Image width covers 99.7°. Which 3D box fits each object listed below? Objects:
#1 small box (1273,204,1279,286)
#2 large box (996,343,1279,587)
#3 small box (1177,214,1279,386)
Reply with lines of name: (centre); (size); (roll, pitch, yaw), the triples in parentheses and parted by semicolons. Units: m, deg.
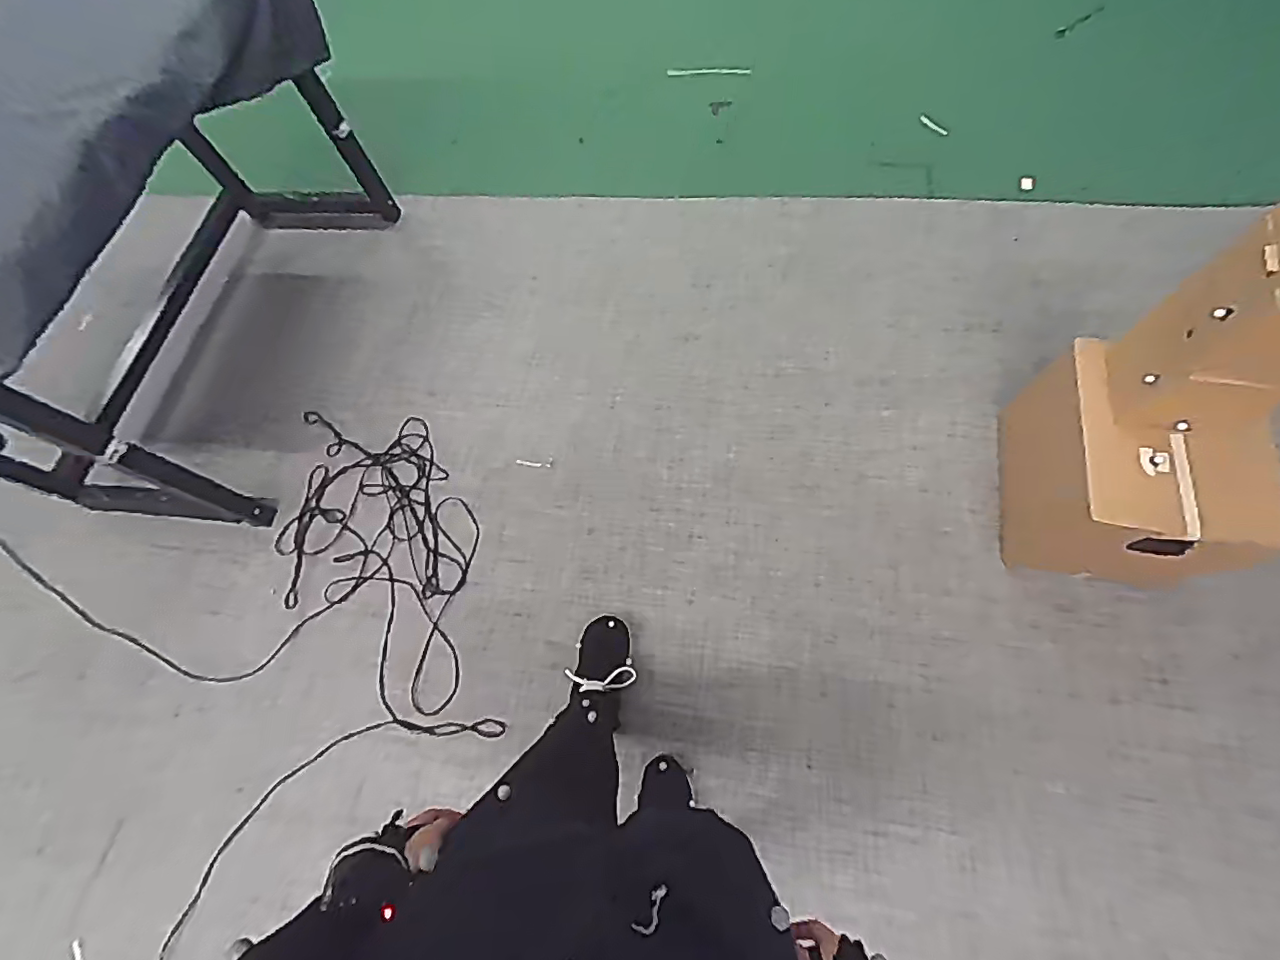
small box: (0.933, -0.318, 0.647); (0.168, 0.176, 0.179); (13, 72, 11)
large box: (0.995, -0.022, 1.137); (0.320, 0.320, 0.408); (8, 69, 11)
small box: (0.949, -0.257, 0.798); (0.179, 0.176, 0.168); (12, 71, 10)
